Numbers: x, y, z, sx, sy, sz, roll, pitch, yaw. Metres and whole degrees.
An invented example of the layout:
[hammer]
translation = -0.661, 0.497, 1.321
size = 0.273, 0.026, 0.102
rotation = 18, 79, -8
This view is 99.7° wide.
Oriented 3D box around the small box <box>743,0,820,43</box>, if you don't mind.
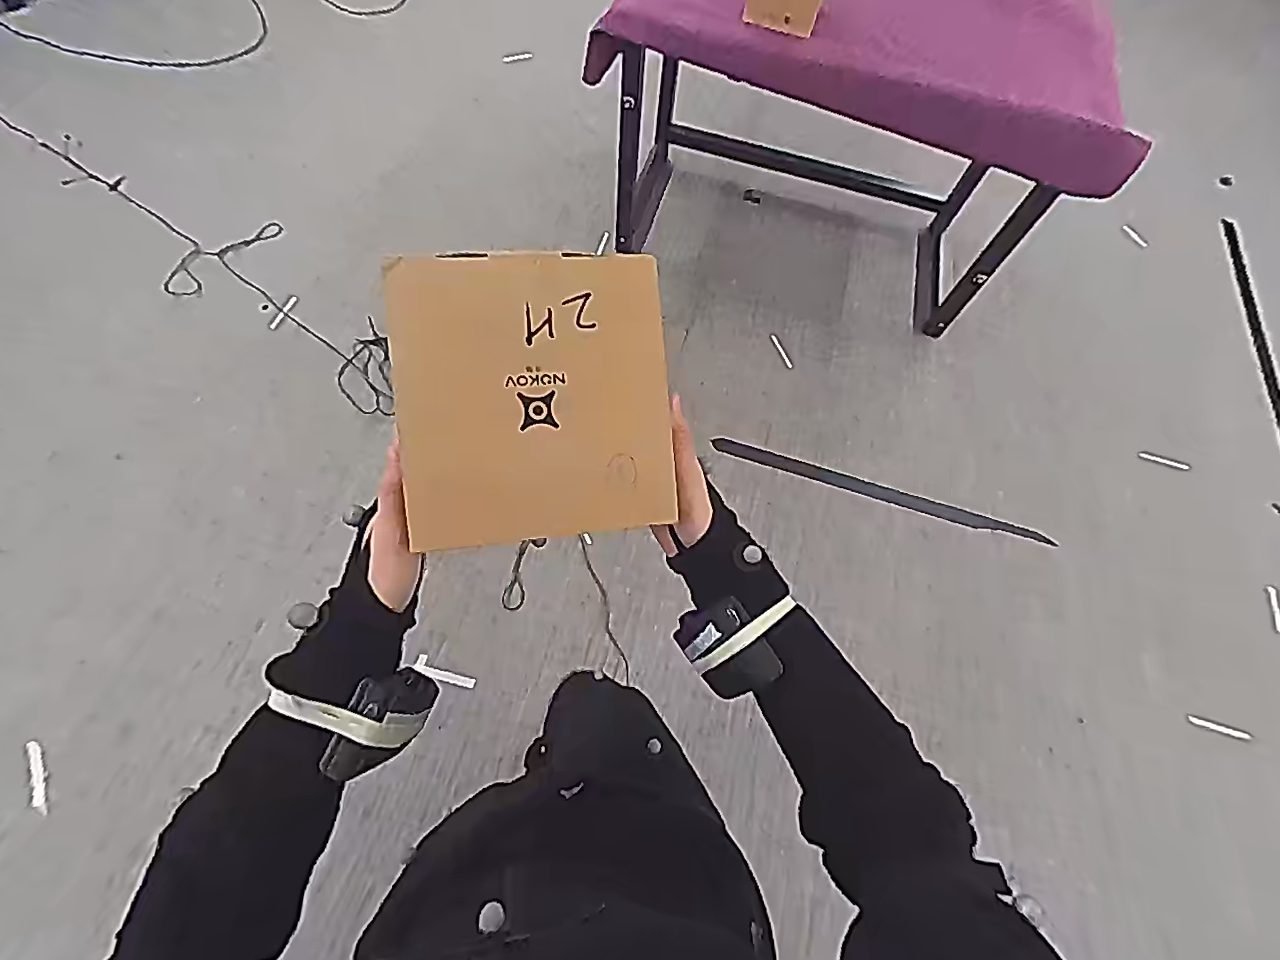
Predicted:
[small box]
translation = 0.352, -1.179, 1.273
size = 0.168, 0.176, 0.179
rotation = 18, 64, 3
